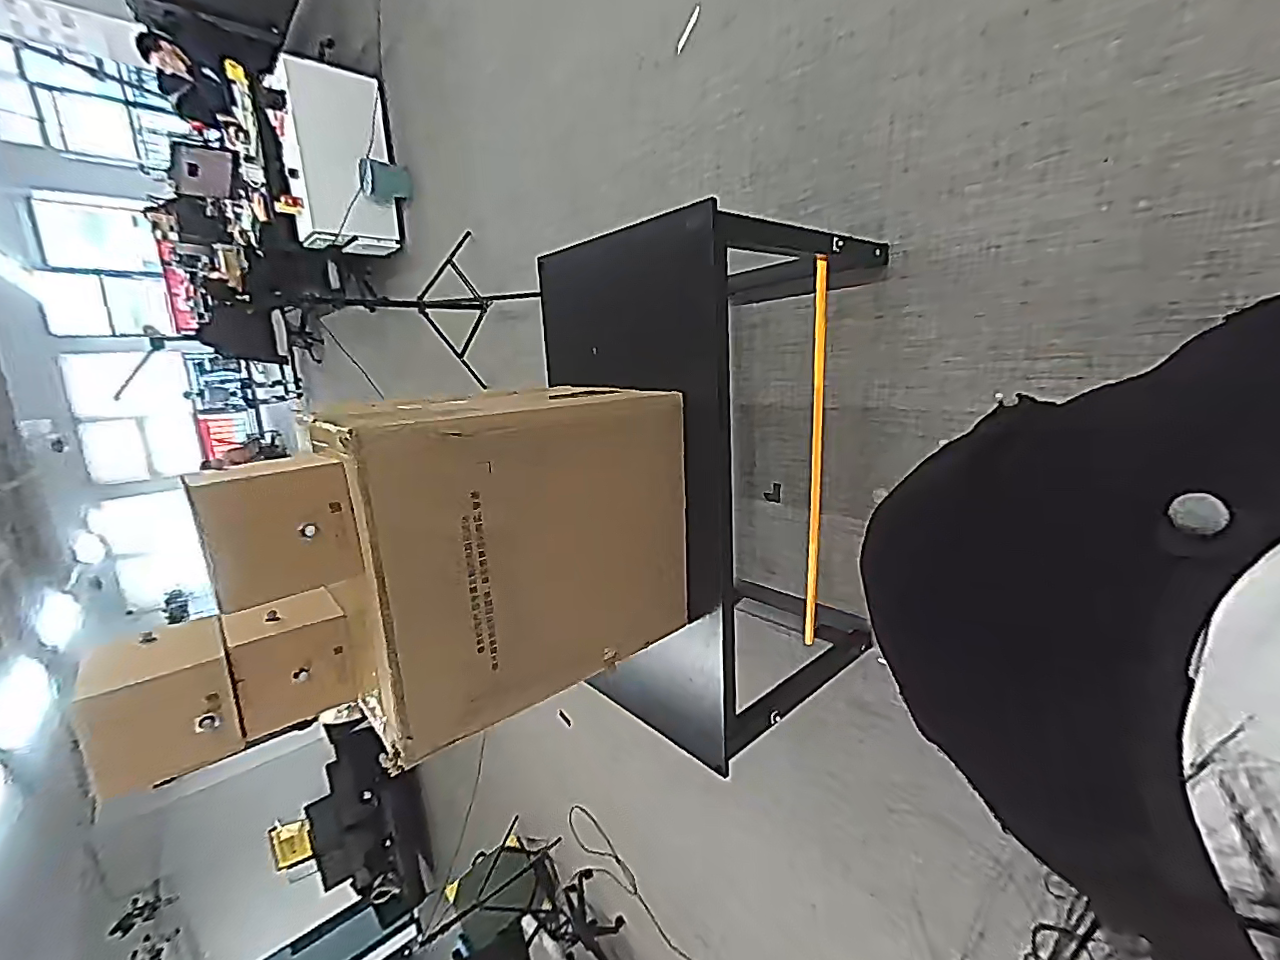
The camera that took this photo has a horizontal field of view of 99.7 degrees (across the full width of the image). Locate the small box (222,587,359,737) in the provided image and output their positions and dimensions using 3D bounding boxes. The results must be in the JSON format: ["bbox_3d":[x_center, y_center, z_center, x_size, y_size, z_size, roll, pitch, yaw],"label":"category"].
[{"bbox_3d":[-0.608,0.305,0.950,0.179,0.176,0.168,12,109,48],"label":"small box"}]

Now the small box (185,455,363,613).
[{"bbox_3d":[-0.511,0.061,0.761,0.179,0.176,0.168,8,109,47],"label":"small box"}]

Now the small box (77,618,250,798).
[{"bbox_3d":[-0.722,0.333,0.835,0.179,0.176,0.168,15,112,47],"label":"small box"}]
